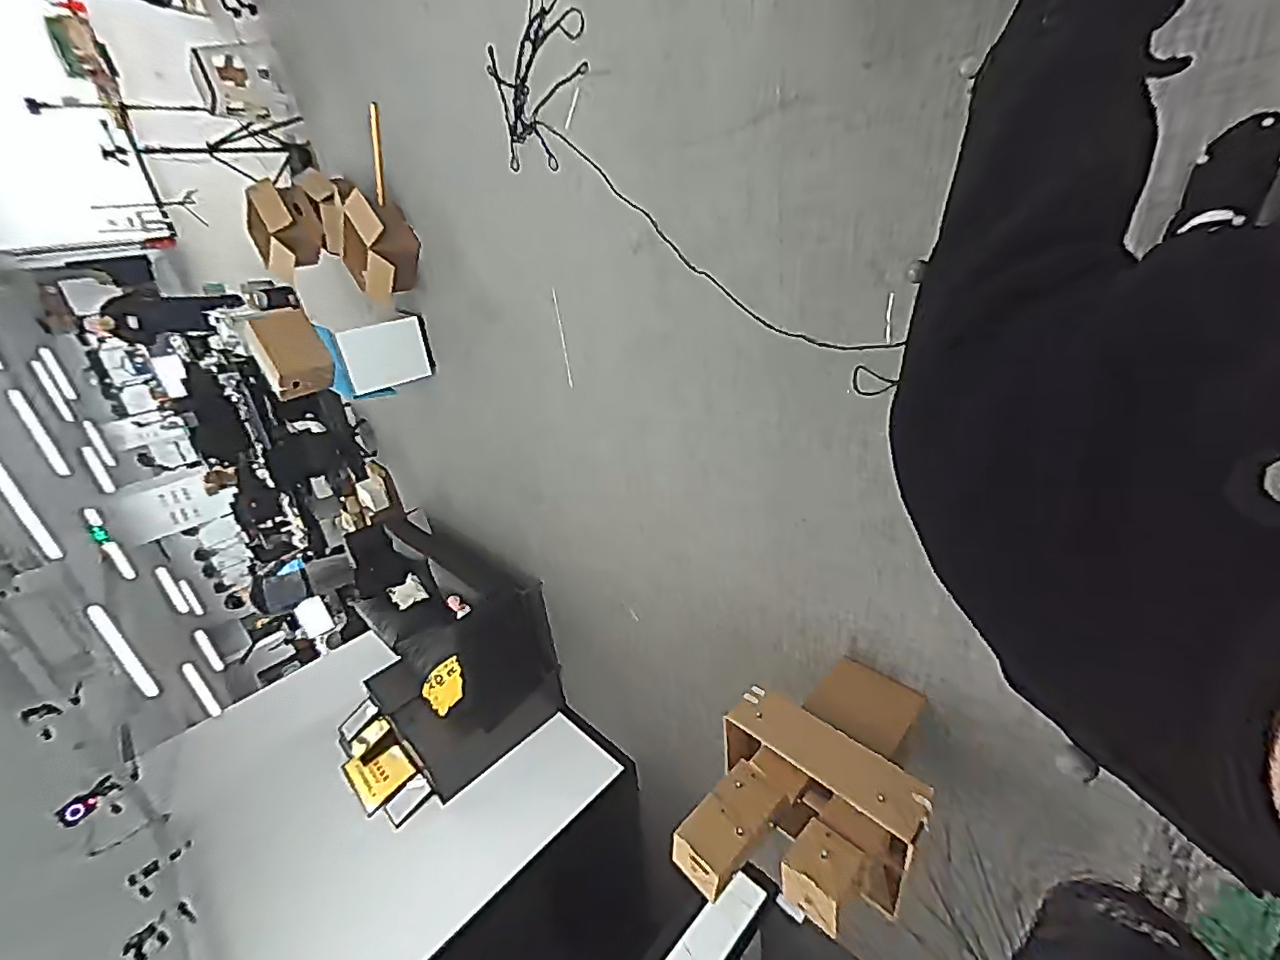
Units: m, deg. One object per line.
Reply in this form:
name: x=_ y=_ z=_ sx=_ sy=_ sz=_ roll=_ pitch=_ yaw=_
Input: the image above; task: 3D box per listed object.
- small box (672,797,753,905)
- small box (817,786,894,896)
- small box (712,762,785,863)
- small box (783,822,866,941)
small box: x=0.215 y=1.091 z=1.603 sx=0.168 sy=0.176 sz=0.179 roll=30 pitch=133 yaw=37
small box: x=0.645 y=1.076 z=1.624 sx=0.168 sy=0.176 sz=0.179 roll=16 pitch=124 yaw=44
small box: x=0.336 y=1.036 z=1.699 sx=0.168 sy=0.176 sz=0.179 roll=27 pitch=131 yaw=39
small box: x=0.520 y=1.121 z=1.526 sx=0.168 sy=0.176 sz=0.179 roll=18 pitch=124 yaw=45
